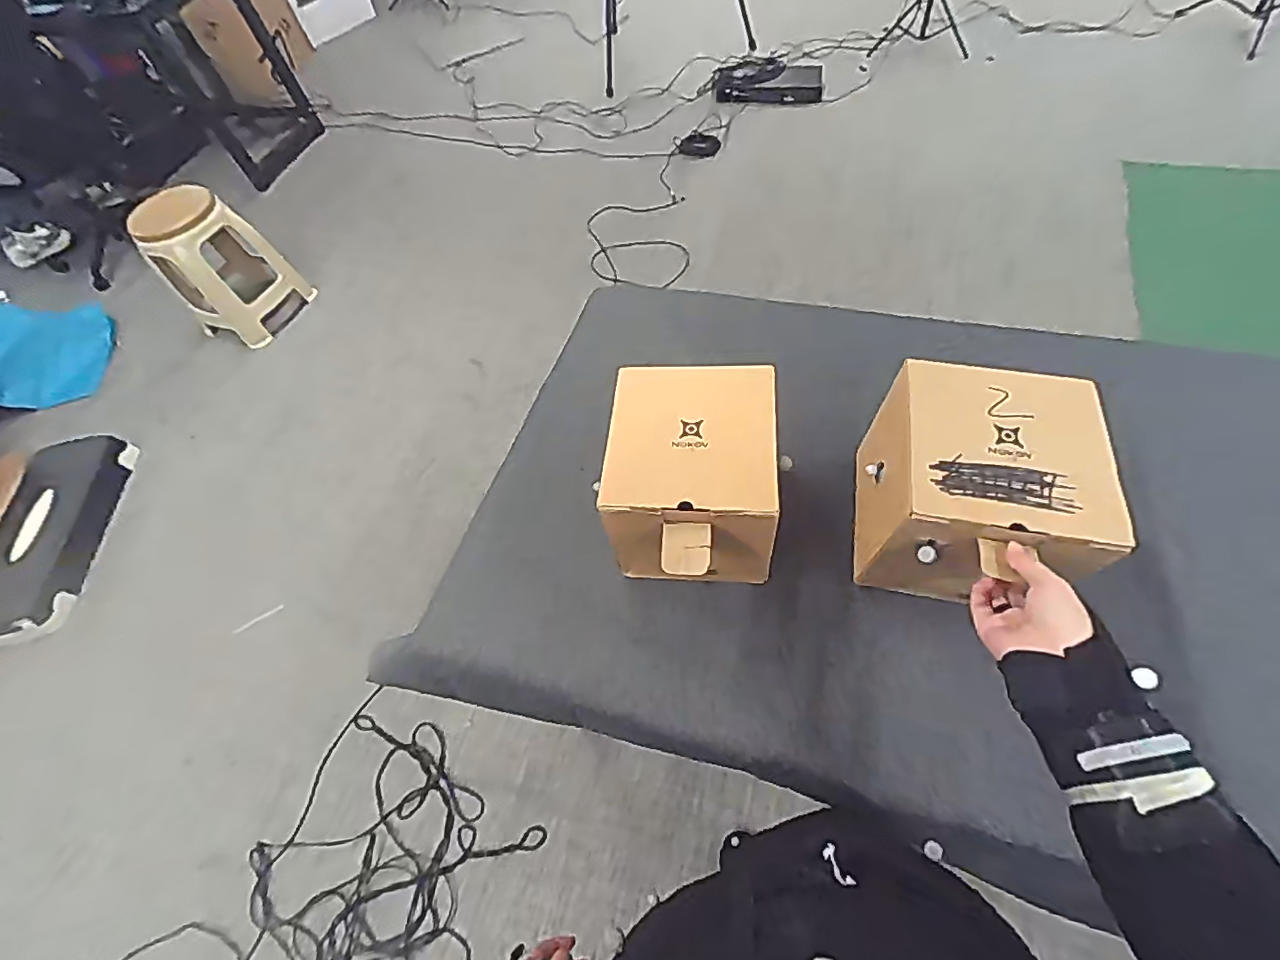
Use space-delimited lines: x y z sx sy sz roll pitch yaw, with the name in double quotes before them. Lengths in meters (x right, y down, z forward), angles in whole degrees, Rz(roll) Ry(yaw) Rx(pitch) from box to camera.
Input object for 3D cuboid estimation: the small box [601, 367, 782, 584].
"small box" 0.062 -0.002 0.594 0.168 0.176 0.179 2 59 9
